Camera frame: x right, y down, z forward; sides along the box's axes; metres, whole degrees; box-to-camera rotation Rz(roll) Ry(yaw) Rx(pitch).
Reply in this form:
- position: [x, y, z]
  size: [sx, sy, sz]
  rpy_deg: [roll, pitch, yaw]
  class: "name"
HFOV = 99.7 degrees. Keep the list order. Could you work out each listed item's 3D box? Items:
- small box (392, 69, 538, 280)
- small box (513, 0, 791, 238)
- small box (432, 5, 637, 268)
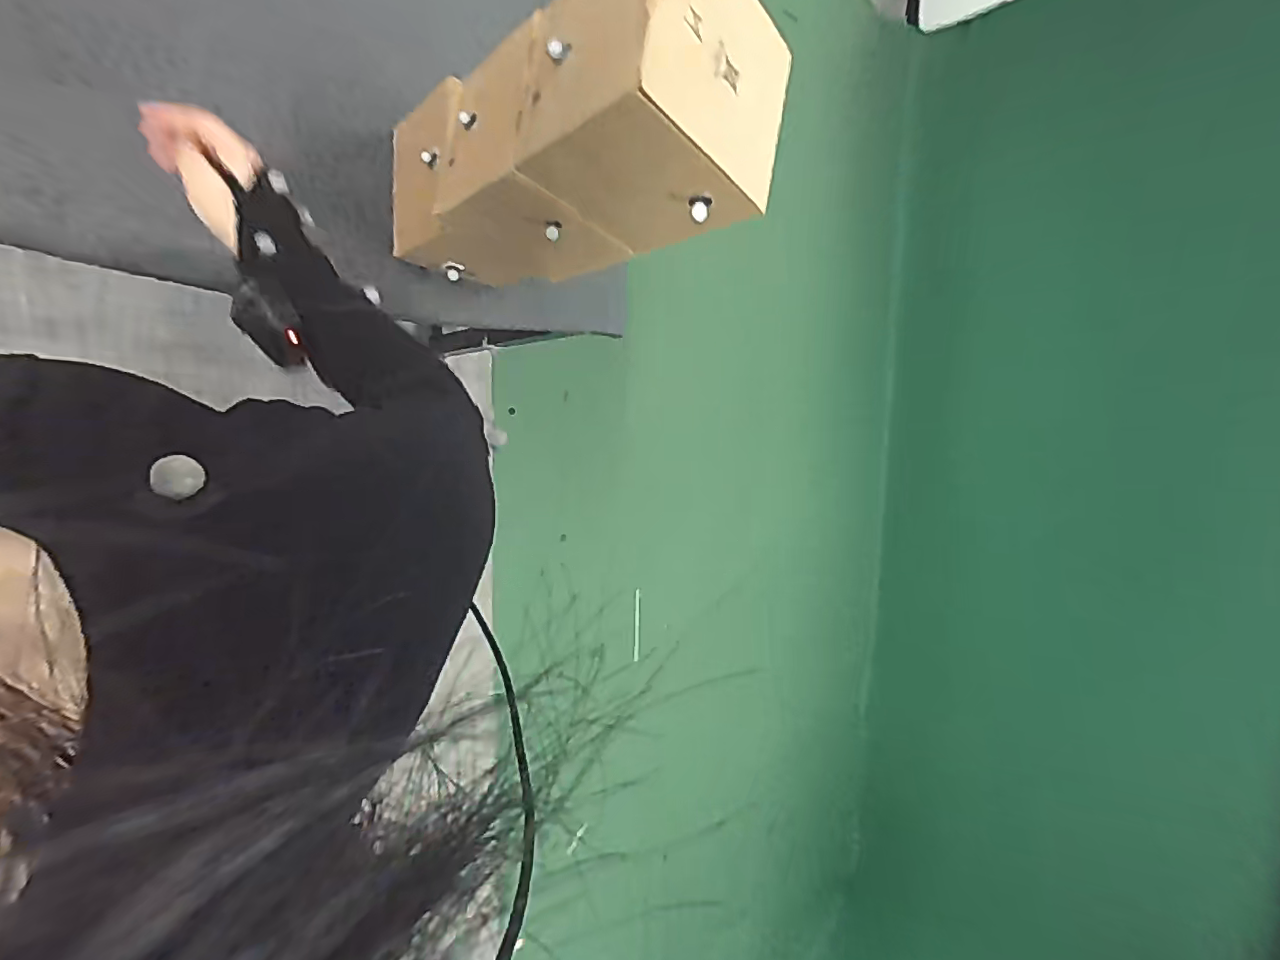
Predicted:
- position: [-0.221, -0.388, 0.729]
  size: [0.168, 0.176, 0.179]
  rpy_deg: [-2, 97, -44]
  class: "small box"
- position: [0.012, -0.350, 0.502]
  size: [0.179, 0.176, 0.168]
  rpy_deg: [15, 83, -44]
  class: "small box"
- position: [-0.107, -0.360, 0.616]
  size: [0.179, 0.176, 0.168]
  rpy_deg: [13, 85, -44]
  class: "small box"
